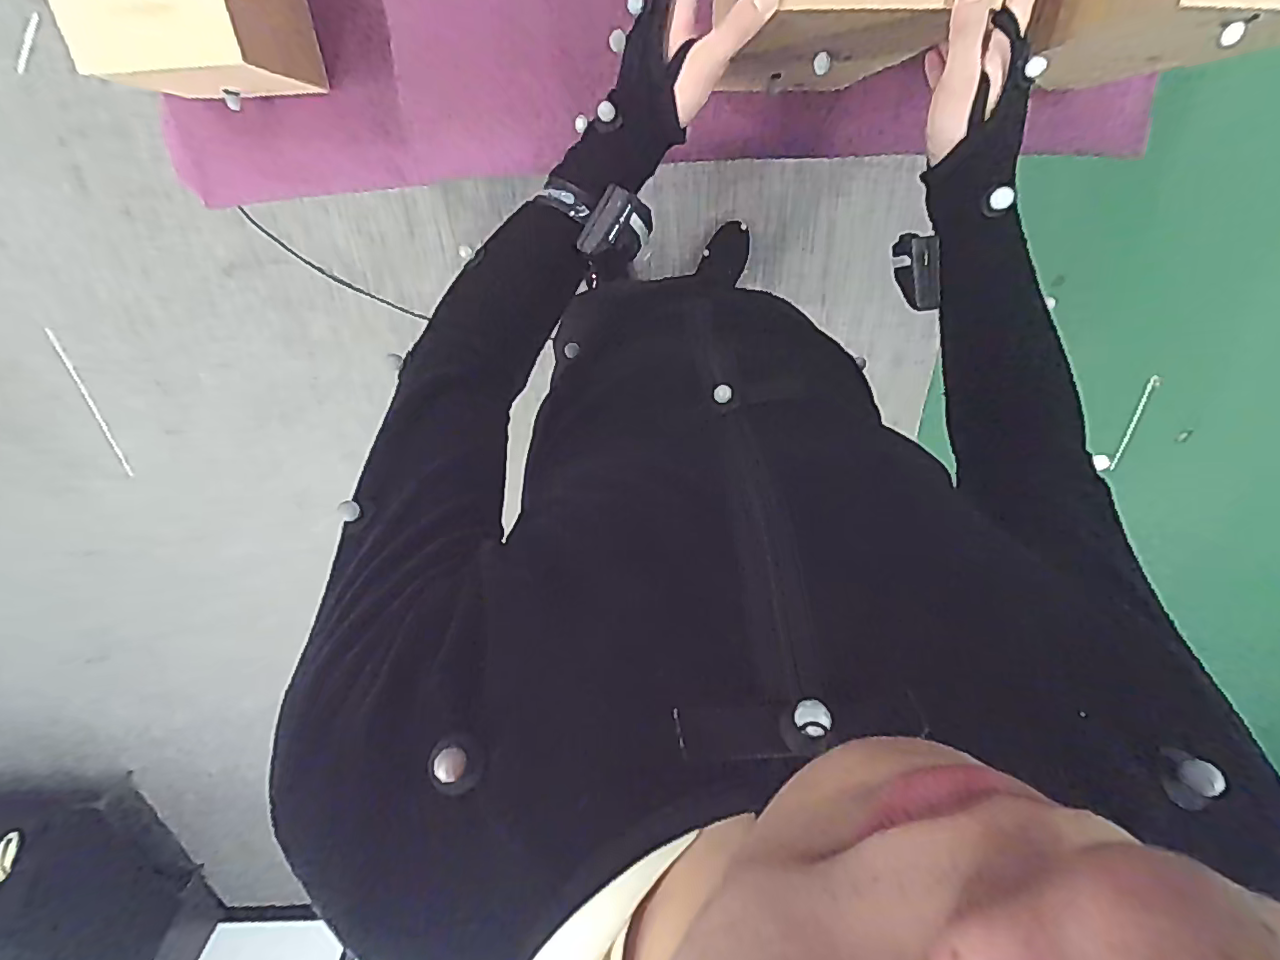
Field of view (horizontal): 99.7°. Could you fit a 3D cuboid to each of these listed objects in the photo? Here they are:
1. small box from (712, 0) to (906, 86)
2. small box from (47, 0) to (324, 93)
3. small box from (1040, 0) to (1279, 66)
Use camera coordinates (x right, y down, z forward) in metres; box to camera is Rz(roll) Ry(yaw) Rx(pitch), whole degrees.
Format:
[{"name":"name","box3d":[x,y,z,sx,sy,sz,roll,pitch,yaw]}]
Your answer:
[{"name":"small box","box3d":[0.166,-0.517,0.548,0.168,0.176,0.179,0,118,1]},{"name":"small box","box3d":[-0.461,-0.514,0.547,0.168,0.176,0.179,-2,118,1]},{"name":"small box","box3d":[0.448,-0.436,0.399,0.168,0.176,0.179,3,118,0]}]
